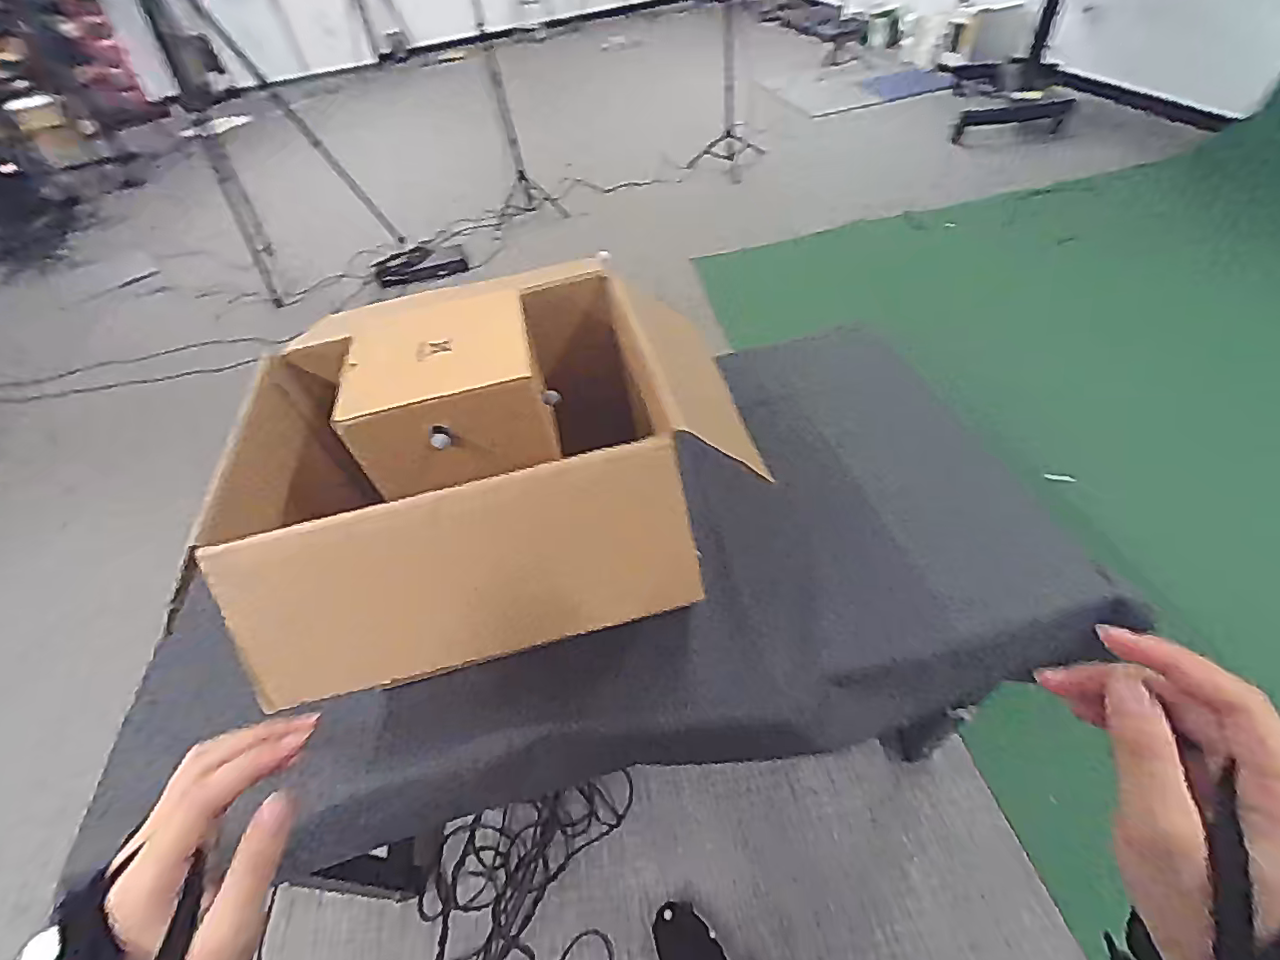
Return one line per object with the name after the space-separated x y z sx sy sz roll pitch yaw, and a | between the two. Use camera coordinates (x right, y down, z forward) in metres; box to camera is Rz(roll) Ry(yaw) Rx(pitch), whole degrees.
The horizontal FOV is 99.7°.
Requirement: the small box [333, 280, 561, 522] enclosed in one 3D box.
-0.188 -0.081 0.577 0.179 0.176 0.168 -15 48 -4 | small box
